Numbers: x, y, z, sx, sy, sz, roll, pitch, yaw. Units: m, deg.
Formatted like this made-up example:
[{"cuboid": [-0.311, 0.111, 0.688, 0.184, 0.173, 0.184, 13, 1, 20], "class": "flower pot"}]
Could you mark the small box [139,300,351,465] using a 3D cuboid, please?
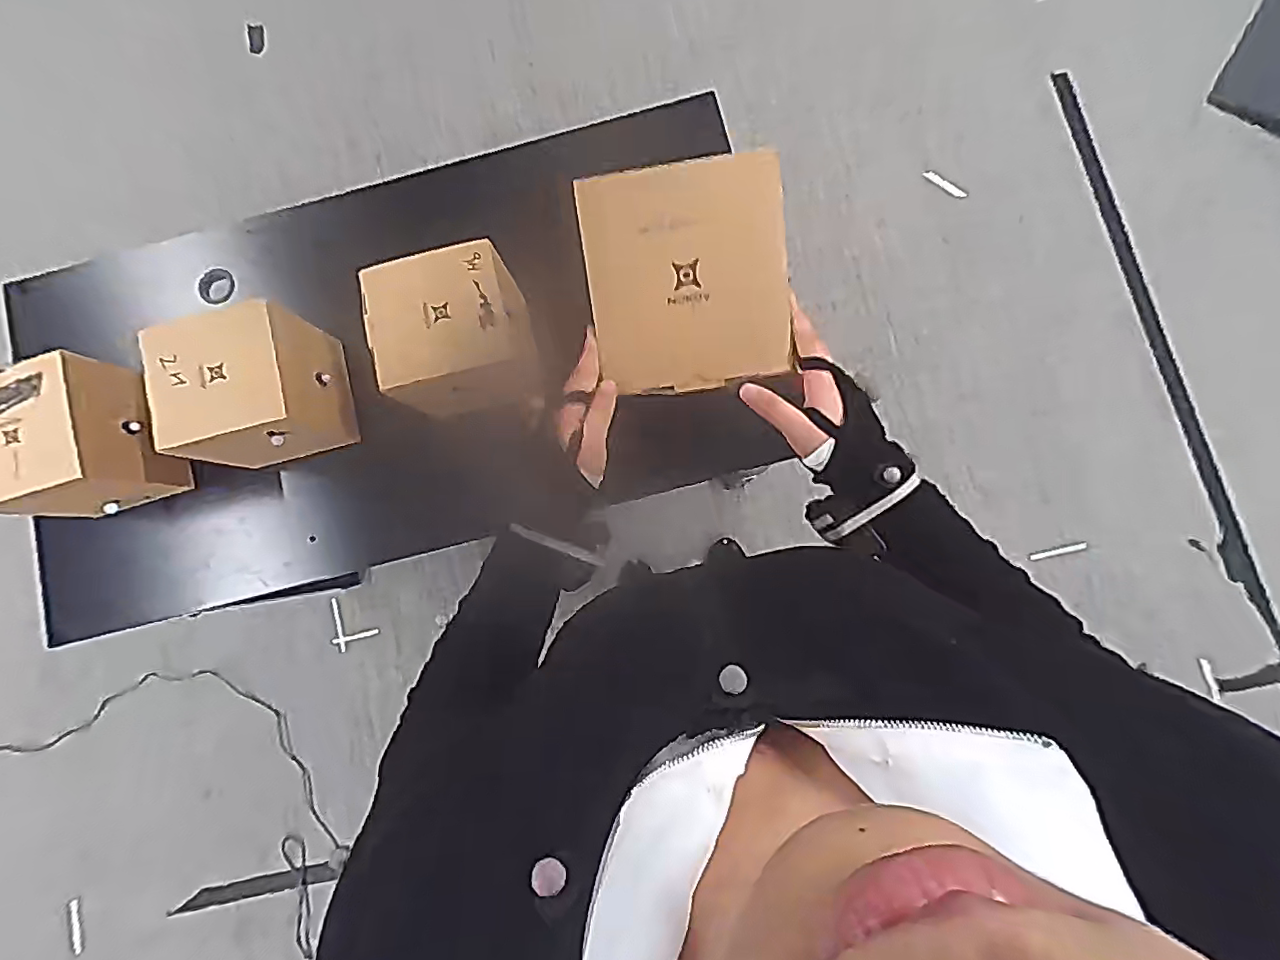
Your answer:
[{"cuboid": [-0.541, -0.127, 0.769, 0.179, 0.176, 0.168, -15, 83, 1], "class": "small box"}]

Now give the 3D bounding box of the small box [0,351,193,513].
[{"cuboid": [-0.799, -0.057, 0.775, 0.168, 0.176, 0.179, -17, 84, 1], "class": "small box"}]

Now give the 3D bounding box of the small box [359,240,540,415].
[{"cuboid": [-0.258, -0.201, 0.764, 0.179, 0.176, 0.168, -13, 84, 2], "class": "small box"}]

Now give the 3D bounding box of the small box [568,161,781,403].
[{"cuboid": [0.035, -0.184, 0.535, 0.168, 0.176, 0.179, -8, 104, 4], "class": "small box"}]
